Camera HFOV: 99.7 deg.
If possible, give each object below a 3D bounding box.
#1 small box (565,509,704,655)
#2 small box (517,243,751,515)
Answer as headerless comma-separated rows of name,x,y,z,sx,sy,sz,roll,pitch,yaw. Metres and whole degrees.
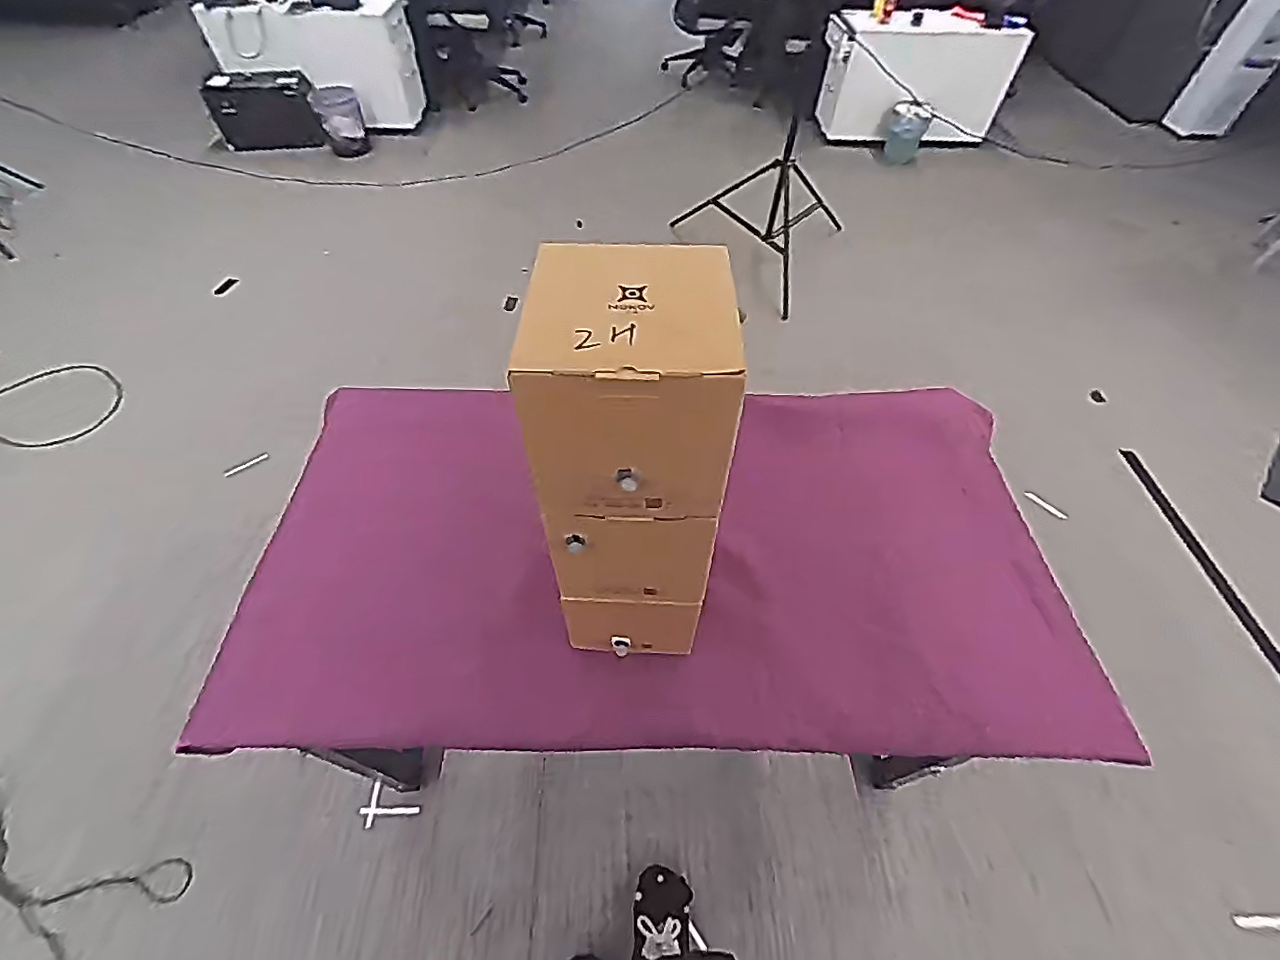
small box,-0.005,0.121,0.740,0.168,0.176,0.179,2,53,1
small box,-0.003,-0.089,0.485,0.168,0.176,0.179,1,51,1
